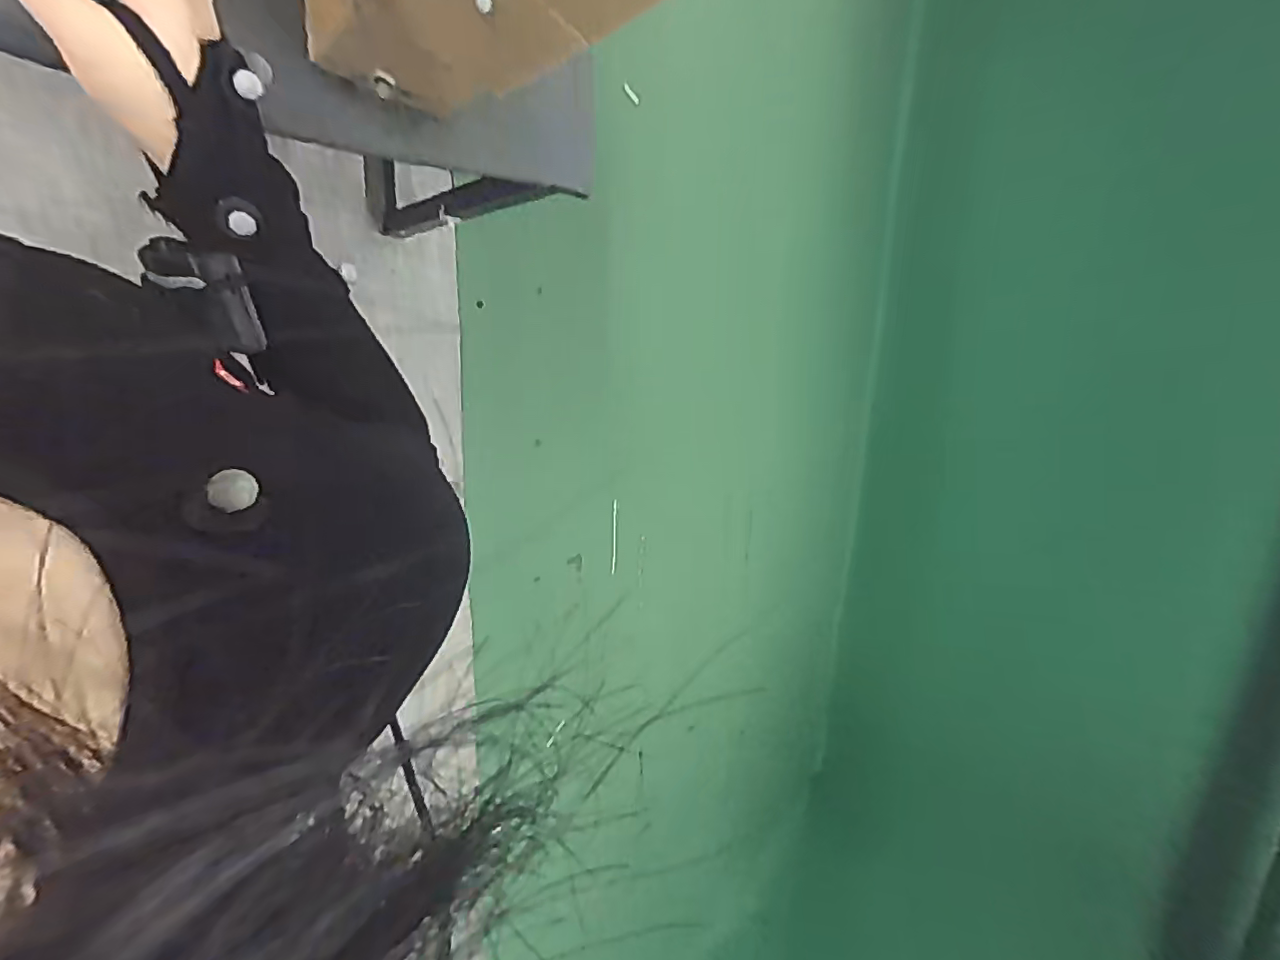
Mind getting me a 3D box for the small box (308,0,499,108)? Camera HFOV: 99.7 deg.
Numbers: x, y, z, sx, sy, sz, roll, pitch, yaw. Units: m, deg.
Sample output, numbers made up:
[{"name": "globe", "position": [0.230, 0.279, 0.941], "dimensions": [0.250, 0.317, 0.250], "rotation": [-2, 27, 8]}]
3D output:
[{"name": "small box", "position": [-0.264, -0.566, 0.611], "dimensions": [0.168, 0.176, 0.179], "rotation": [-9, 107, -45]}]
